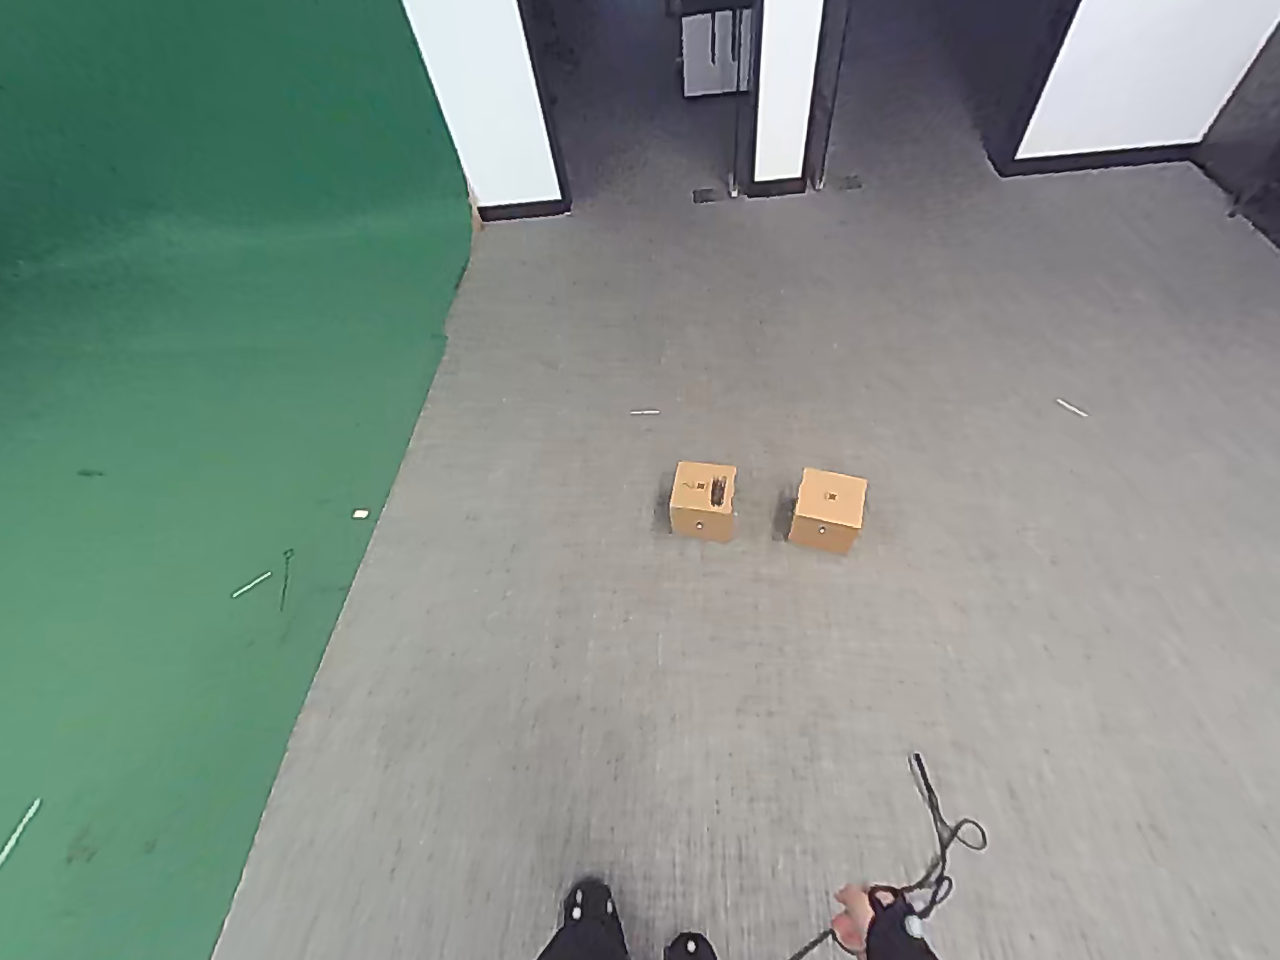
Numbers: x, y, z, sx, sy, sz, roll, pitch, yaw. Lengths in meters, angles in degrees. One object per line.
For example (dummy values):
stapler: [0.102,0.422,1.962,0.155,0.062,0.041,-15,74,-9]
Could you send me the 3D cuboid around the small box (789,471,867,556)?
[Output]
small box: [0.534,0.100,1.555,0.179,0.176,0.168,13,58,16]
